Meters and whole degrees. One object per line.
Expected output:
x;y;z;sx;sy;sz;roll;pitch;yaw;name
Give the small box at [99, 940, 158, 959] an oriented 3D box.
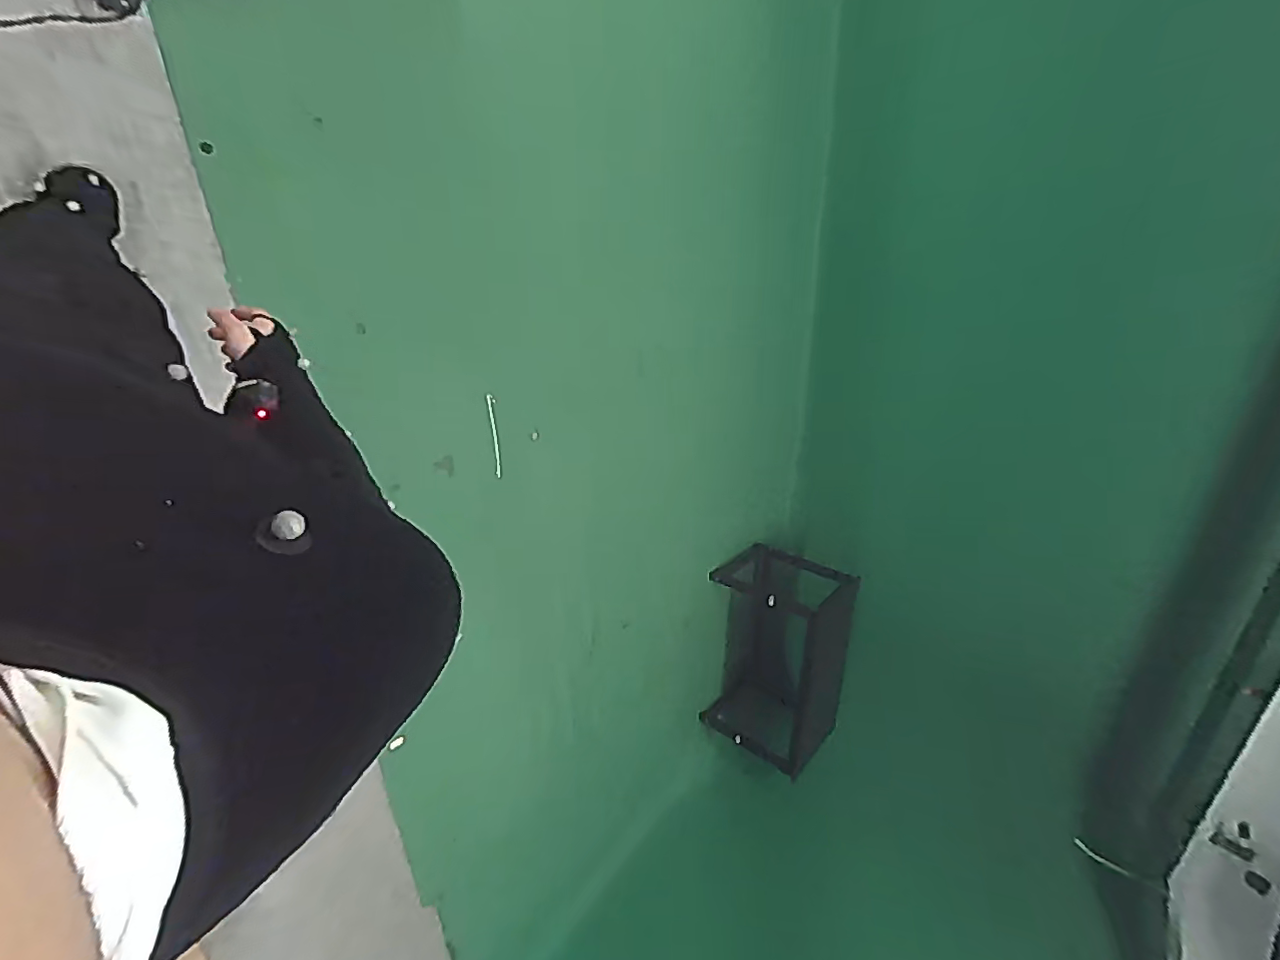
-1.367;1.365;1.407;0.168;0.176;0.179;-31;127;-39;small box
